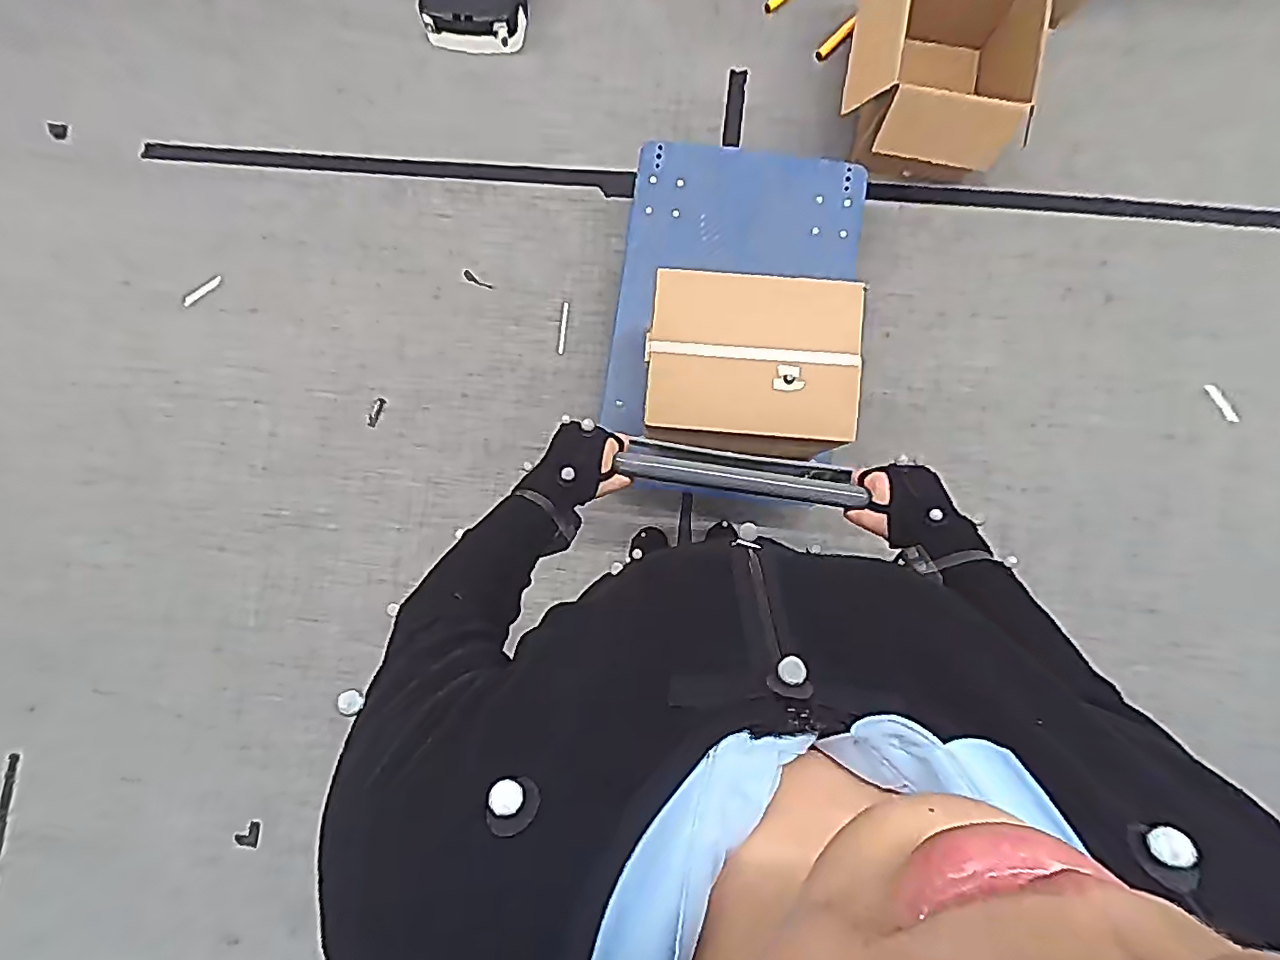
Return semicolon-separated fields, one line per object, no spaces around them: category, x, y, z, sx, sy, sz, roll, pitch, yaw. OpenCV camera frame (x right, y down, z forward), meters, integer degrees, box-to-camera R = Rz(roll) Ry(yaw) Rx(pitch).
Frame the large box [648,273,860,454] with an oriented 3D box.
large box;0.224;-0.235;1.203;0.408;0.320;0.320;4;87;1
